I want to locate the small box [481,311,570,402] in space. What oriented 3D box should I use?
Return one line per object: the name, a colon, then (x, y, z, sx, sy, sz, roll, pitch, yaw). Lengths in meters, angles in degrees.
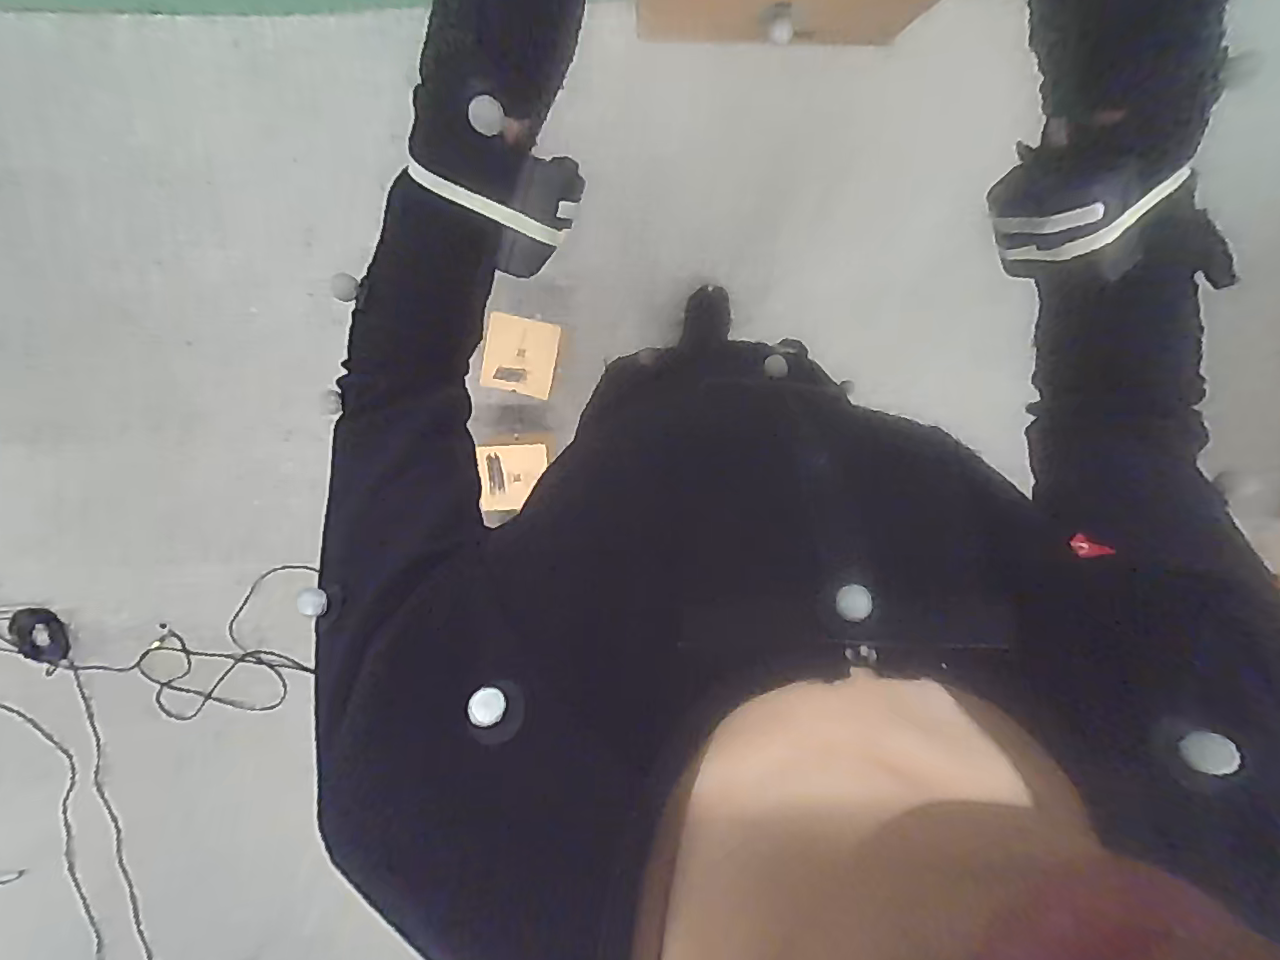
small box: (-0.275, -0.303, 1.325, 0.168, 0.176, 0.179, 13, 104, -3)
